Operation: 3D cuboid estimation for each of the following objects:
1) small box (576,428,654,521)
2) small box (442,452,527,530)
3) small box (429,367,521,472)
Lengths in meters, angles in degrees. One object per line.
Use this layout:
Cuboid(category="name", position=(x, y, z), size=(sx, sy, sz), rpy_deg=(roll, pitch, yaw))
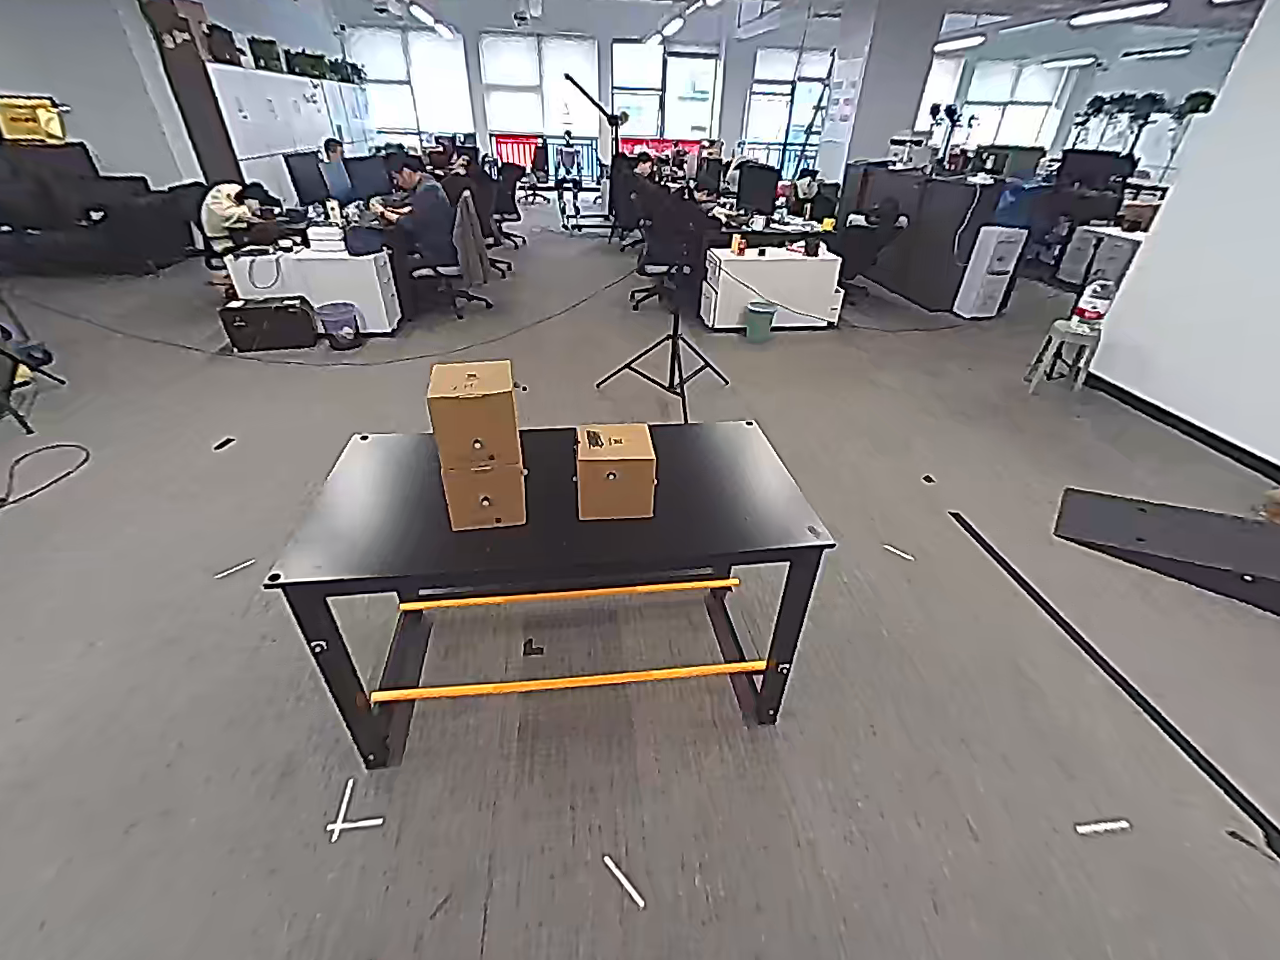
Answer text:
Cuboid(category="small box", position=(-0.063, -0.012, 1.310), size=(0.179, 0.176, 0.168), rpy_deg=(-2, 33, -6))
Cuboid(category="small box", position=(-0.359, 0.006, 1.273), size=(0.168, 0.176, 0.179), rpy_deg=(-6, 34, -10))
Cuboid(category="small box", position=(-0.356, -0.135, 1.185), size=(0.168, 0.176, 0.179), rpy_deg=(-7, 34, -11))
